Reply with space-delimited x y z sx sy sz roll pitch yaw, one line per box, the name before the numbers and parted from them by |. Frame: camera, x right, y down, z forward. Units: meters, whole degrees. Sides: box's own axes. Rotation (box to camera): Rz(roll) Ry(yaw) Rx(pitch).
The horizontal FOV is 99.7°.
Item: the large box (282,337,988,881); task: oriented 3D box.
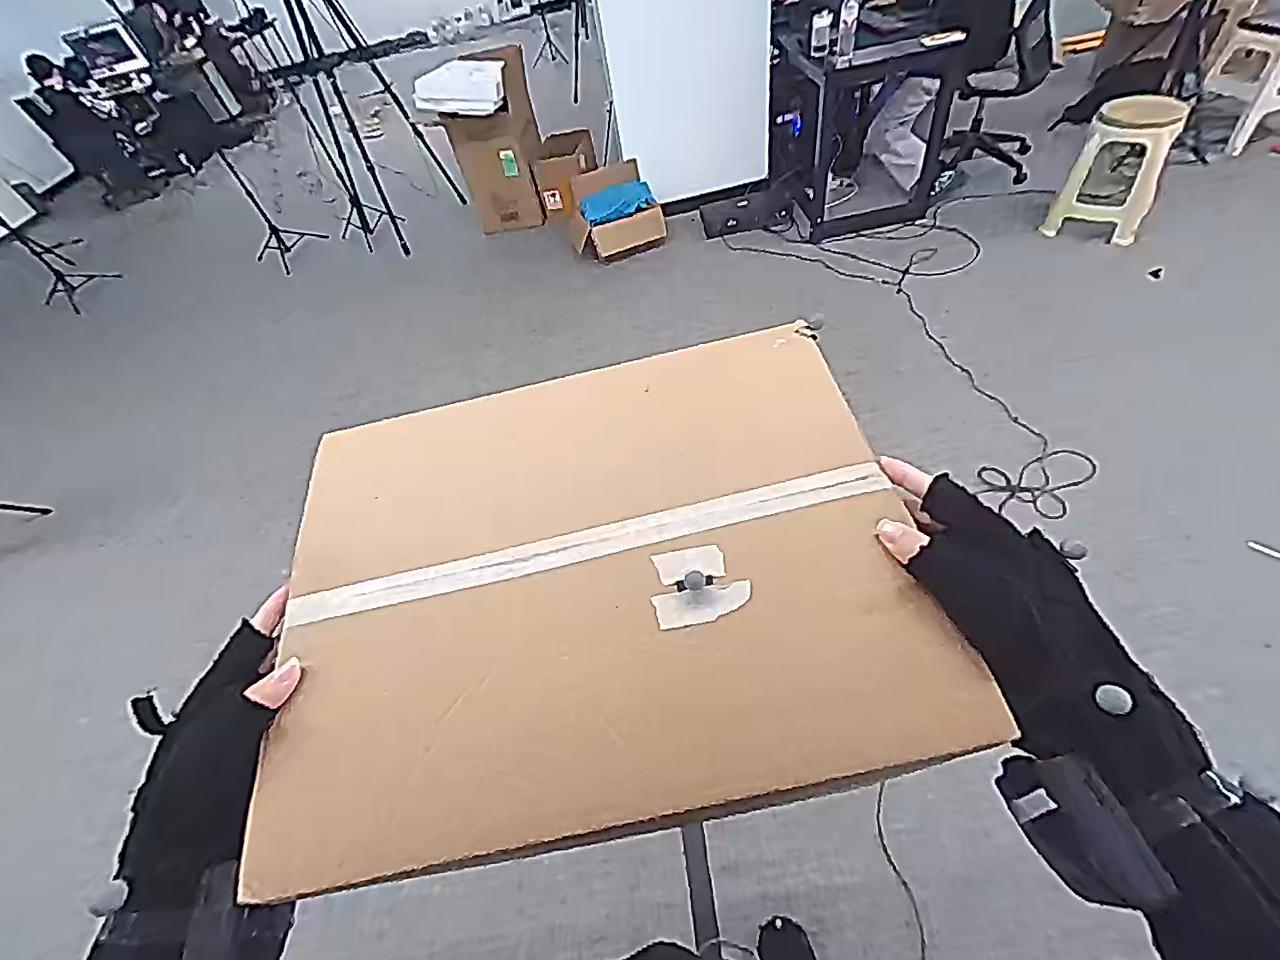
large box | -0.011 0.128 0.496 0.408 0.320 0.320 -13 57 1
